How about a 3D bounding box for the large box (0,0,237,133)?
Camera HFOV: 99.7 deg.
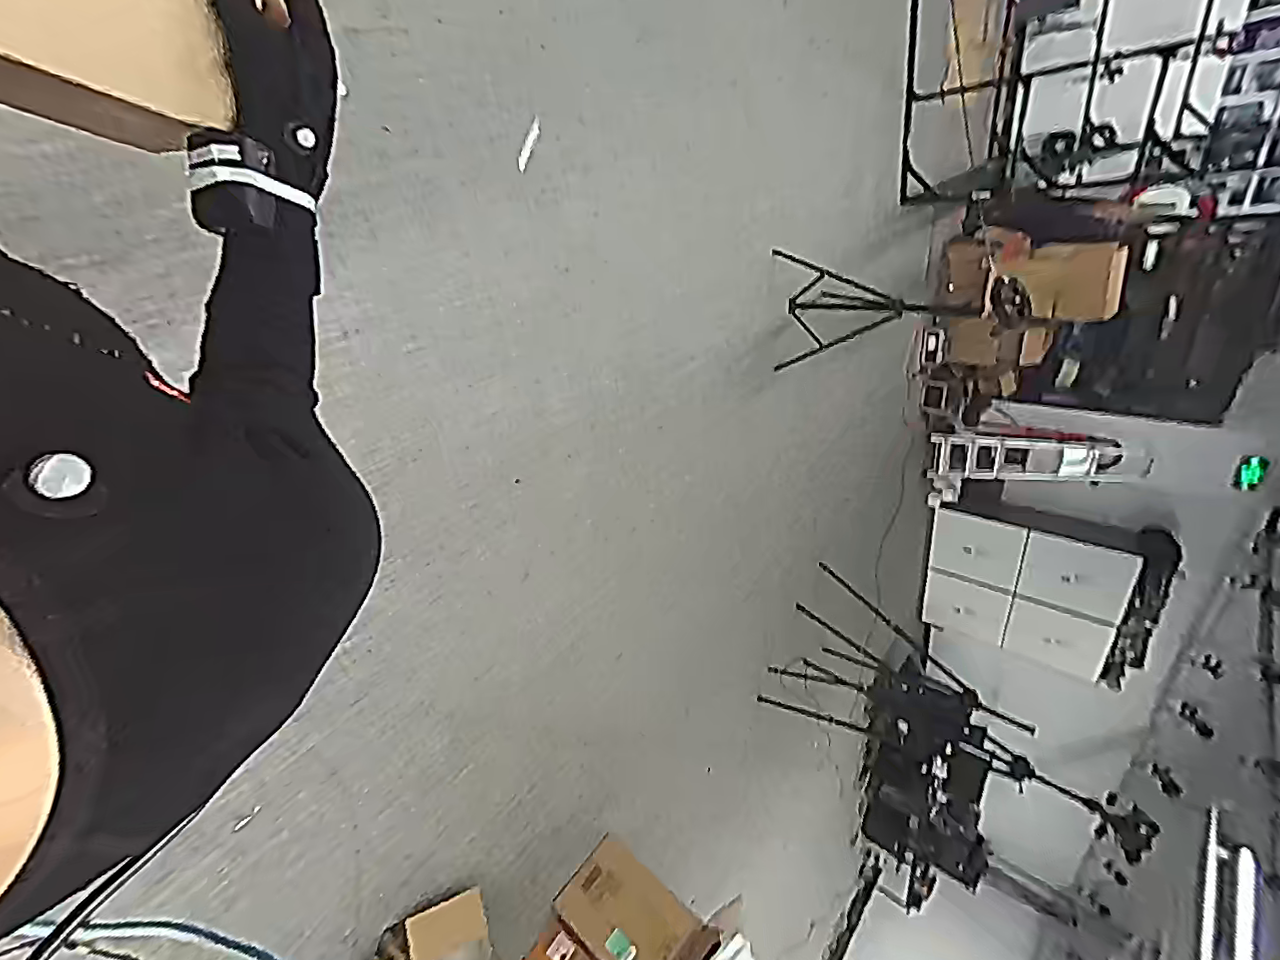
[{"bbox_3d":[-0.529,-0.464,0.323,0.408,0.320,0.320,-6,114,-52],"label":"large box"}]
